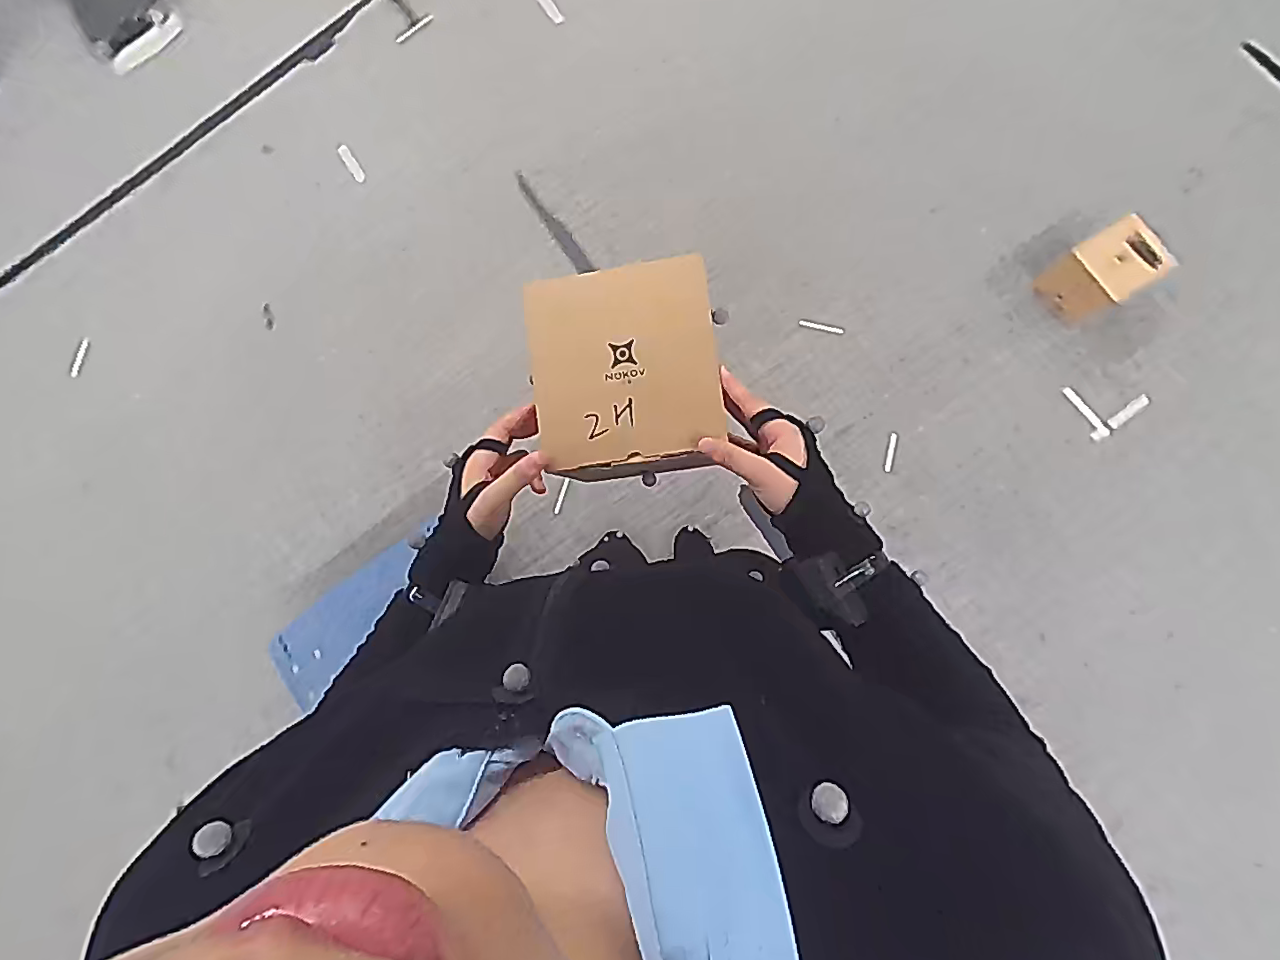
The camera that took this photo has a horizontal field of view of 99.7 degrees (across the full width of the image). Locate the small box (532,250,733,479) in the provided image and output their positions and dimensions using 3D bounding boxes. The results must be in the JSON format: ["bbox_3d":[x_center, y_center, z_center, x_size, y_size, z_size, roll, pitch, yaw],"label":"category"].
[{"bbox_3d":[-0.001,-0.101,0.548,0.168,0.176,0.179,-6,86,7],"label":"small box"}]
